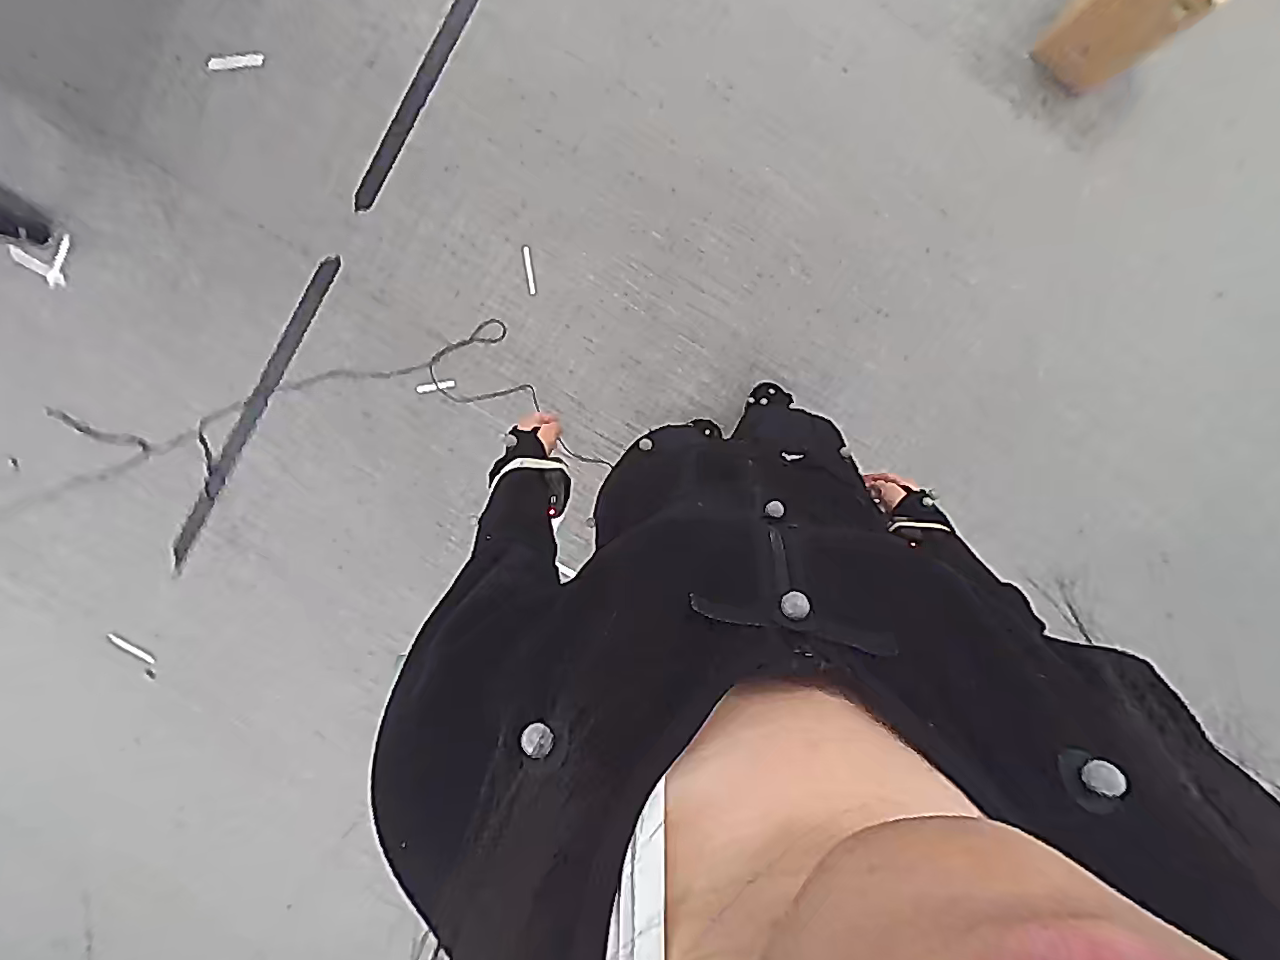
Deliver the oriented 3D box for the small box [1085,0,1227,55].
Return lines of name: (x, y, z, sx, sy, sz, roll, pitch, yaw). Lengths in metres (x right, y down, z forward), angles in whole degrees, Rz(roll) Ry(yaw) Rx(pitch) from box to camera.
small box: (1.057, -1.000, 1.071, 0.179, 0.176, 0.168, 36, 98, -5)
